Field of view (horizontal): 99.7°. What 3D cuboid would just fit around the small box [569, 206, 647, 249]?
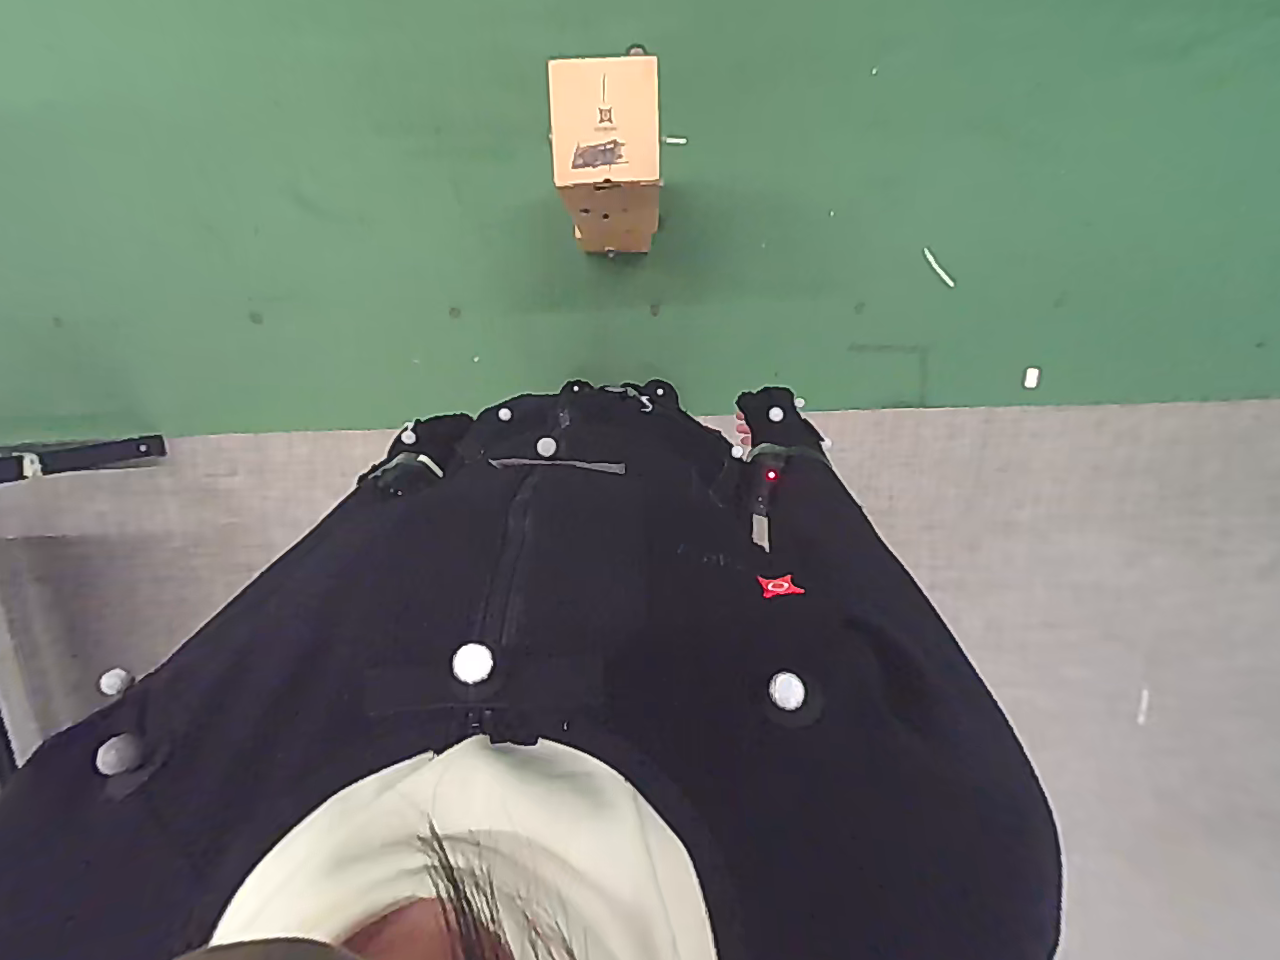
[{"bbox_3d":[-0.065,-0.626,1.198,0.168,0.176,0.179,2,103,1],"label":"small box"}]

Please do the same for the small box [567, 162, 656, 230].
[{"bbox_3d":[-0.055,-0.601,1.055,0.168,0.176,0.179,-1,101,1],"label":"small box"}]

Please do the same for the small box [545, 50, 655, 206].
[{"bbox_3d":[-0.058,-0.565,0.895,0.168,0.176,0.179,-1,101,0],"label":"small box"}]
